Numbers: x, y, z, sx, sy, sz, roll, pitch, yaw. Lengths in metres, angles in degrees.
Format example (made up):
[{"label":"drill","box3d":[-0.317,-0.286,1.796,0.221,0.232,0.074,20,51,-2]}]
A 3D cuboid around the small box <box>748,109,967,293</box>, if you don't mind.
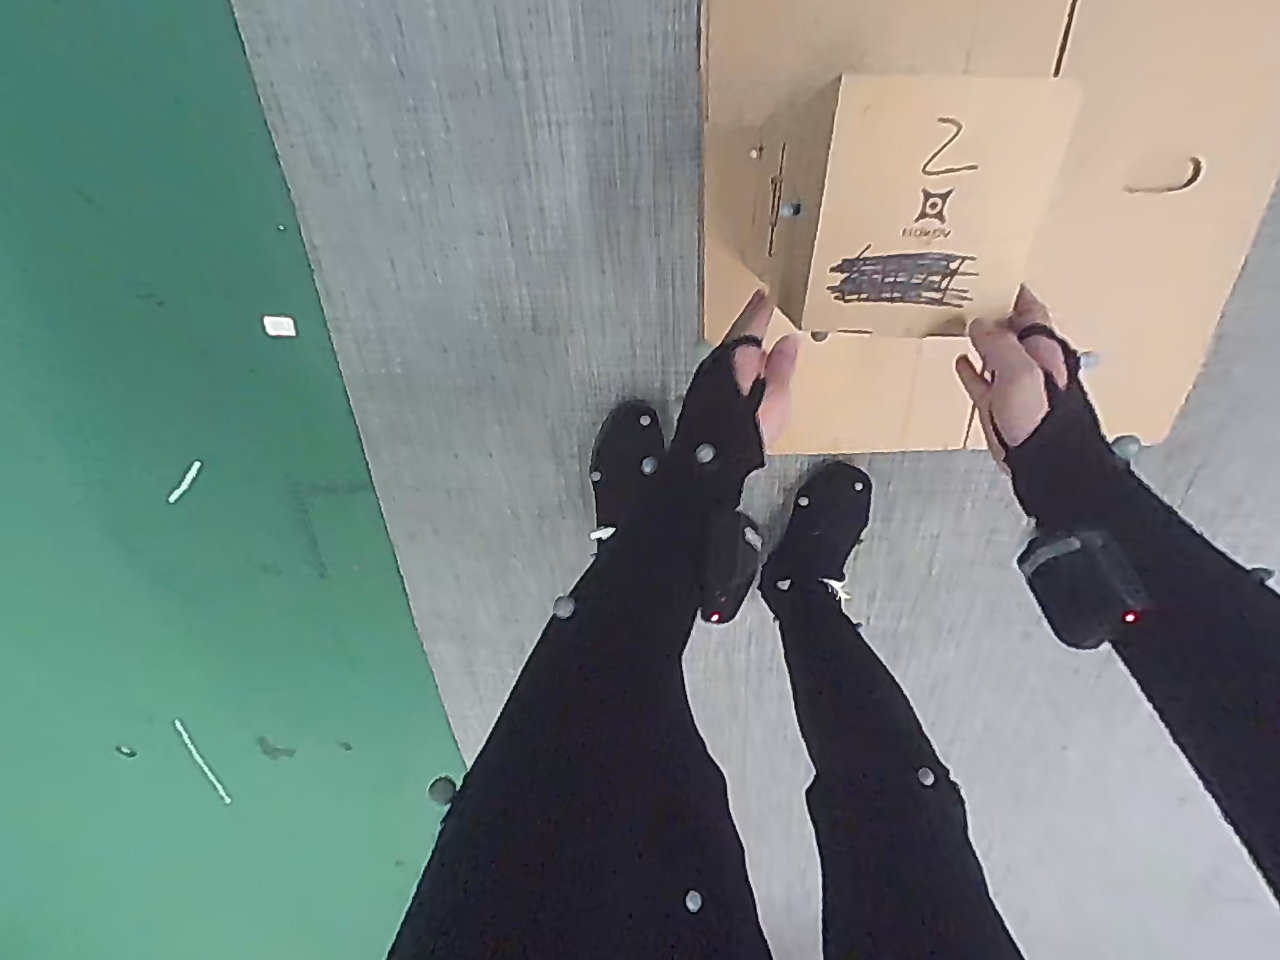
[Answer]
[{"label":"small box","box3d":[0.224,-0.314,0.618,0.179,0.176,0.168,2,118,2]}]
